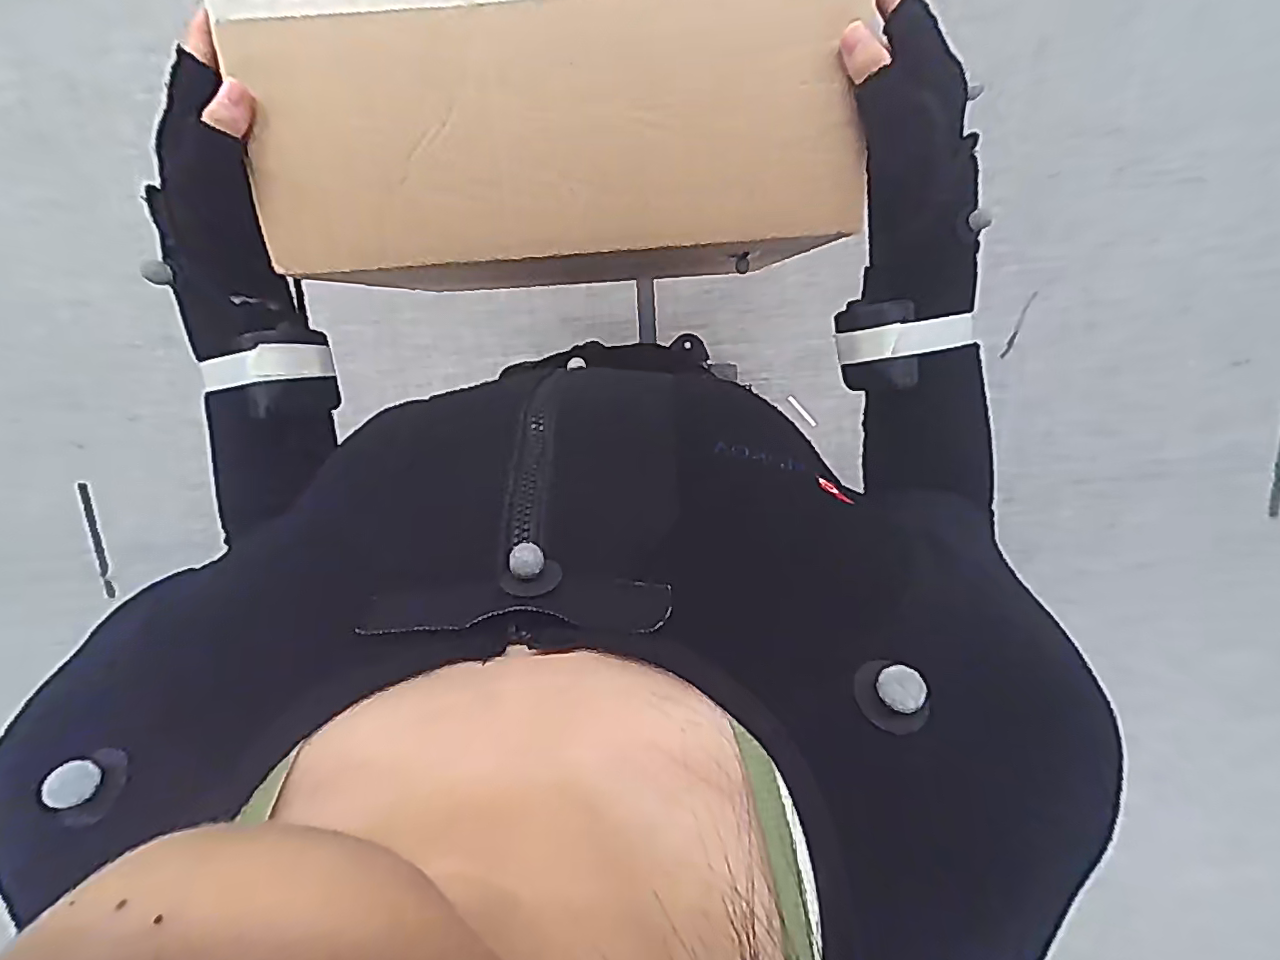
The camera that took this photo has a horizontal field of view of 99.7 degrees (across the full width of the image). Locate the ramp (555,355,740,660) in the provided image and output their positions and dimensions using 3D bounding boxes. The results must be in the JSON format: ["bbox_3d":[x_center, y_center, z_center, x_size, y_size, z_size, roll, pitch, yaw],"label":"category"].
[{"bbox_3d":[0.055,0.138,1.626,0.509,0.206,0.991,-5,104,2],"label":"ramp"}]

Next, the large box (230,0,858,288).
[{"bbox_3d":[-0.060,-0.352,0.481,0.408,0.320,0.320,-4,107,1],"label":"large box"}]
